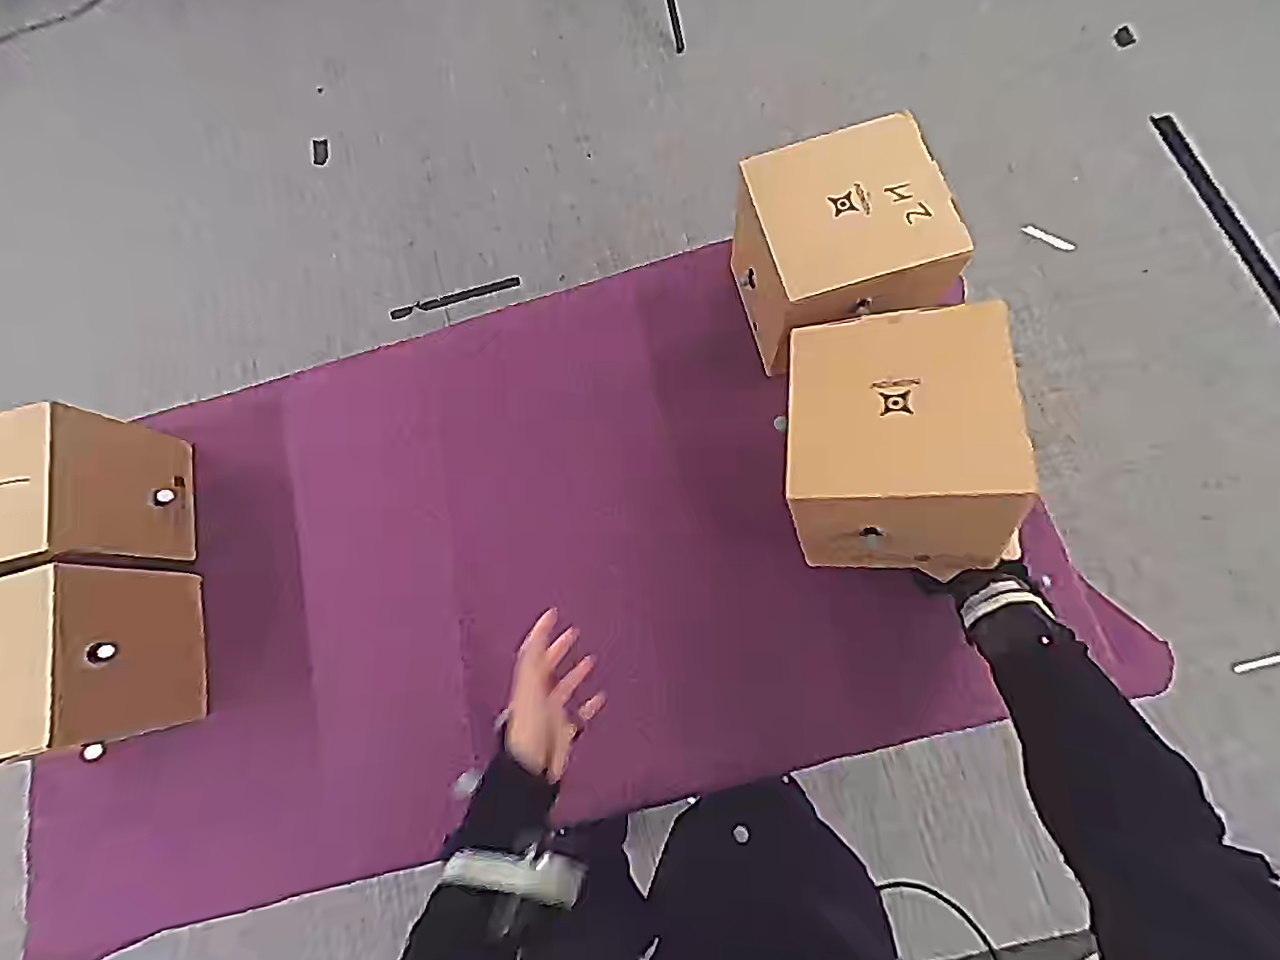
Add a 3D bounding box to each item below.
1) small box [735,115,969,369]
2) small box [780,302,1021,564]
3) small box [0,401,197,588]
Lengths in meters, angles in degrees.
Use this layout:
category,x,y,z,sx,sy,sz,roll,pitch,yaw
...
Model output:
category,x,y,z,sx,sy,sz,roll,pitch,yaw
small box,0.207,-0.241,0.589,0.179,0.176,0.168,-15,76,3
small box,0.229,-0.029,0.500,0.168,0.176,0.179,-3,61,23
small box,-0.674,0.029,0.635,0.179,0.176,0.168,-14,77,2
